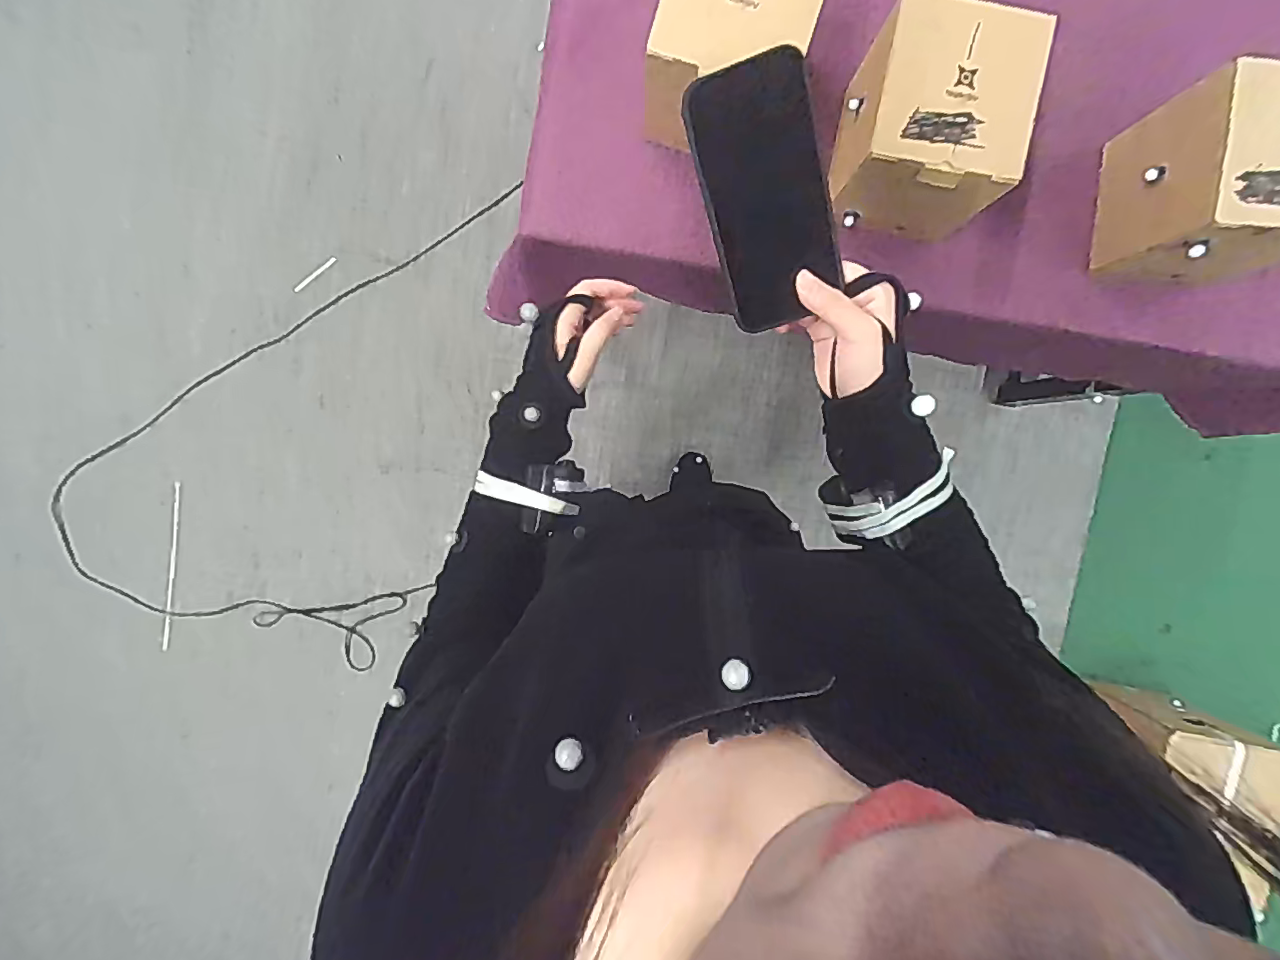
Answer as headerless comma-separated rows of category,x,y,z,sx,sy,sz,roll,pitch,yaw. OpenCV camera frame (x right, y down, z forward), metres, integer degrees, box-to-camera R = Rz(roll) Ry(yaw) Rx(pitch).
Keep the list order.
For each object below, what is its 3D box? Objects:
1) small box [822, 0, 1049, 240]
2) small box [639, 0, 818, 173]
small box,0.336,-0.416,0.653,0.168,0.176,0.179,10,93,0
small box,0.104,-0.510,0.649,0.168,0.176,0.179,18,94,-1
